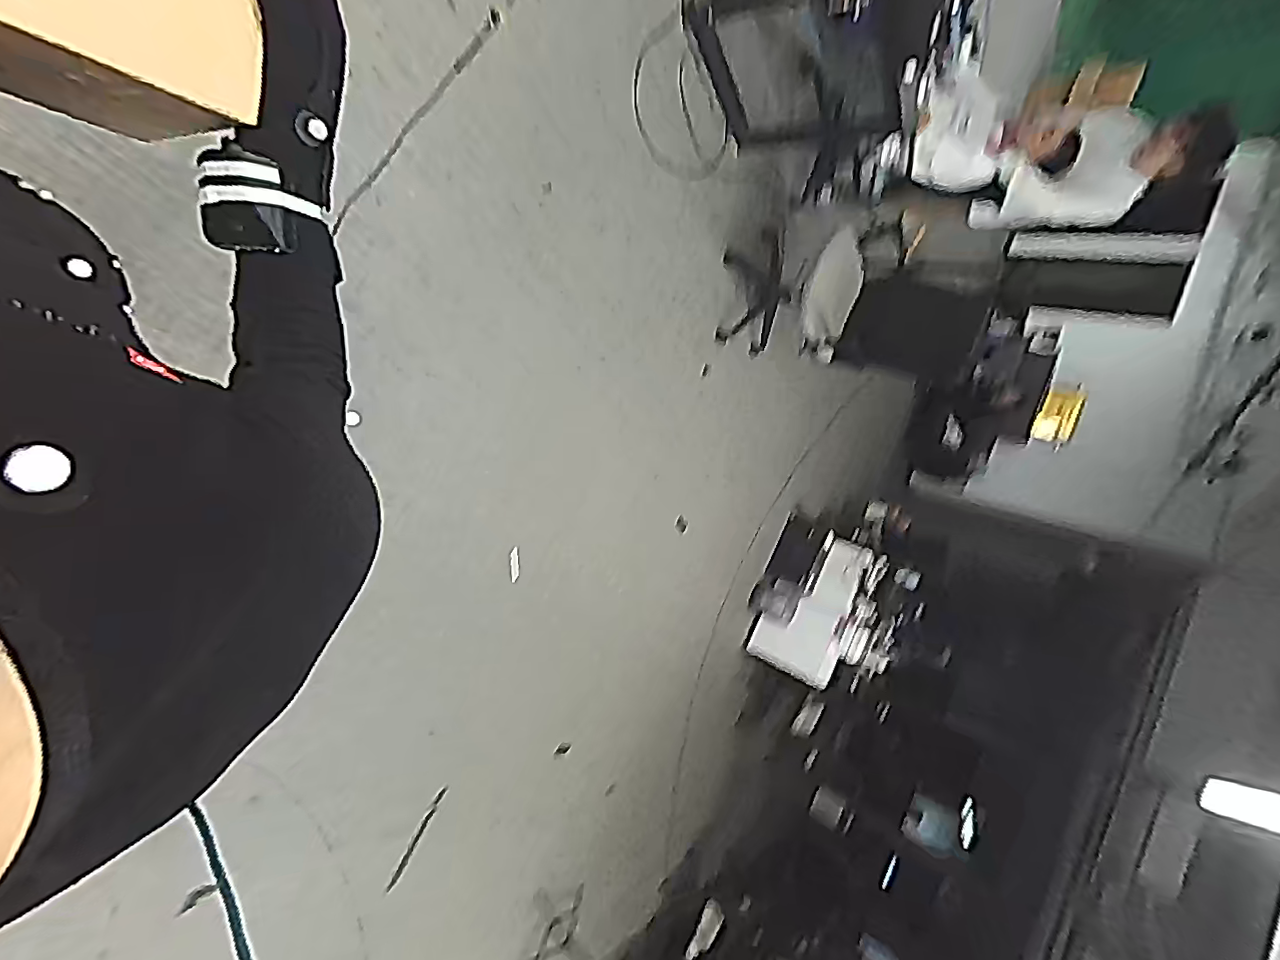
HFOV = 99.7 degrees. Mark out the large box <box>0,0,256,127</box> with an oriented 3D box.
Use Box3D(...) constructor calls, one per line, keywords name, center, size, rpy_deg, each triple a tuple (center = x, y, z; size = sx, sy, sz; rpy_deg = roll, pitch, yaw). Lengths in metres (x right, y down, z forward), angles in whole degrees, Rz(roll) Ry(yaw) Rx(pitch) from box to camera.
Box3D(name="large box", center=(-0.482, -0.446, 0.280), size=(0.408, 0.320, 0.320), rpy_deg=(-4, 112, -53))
